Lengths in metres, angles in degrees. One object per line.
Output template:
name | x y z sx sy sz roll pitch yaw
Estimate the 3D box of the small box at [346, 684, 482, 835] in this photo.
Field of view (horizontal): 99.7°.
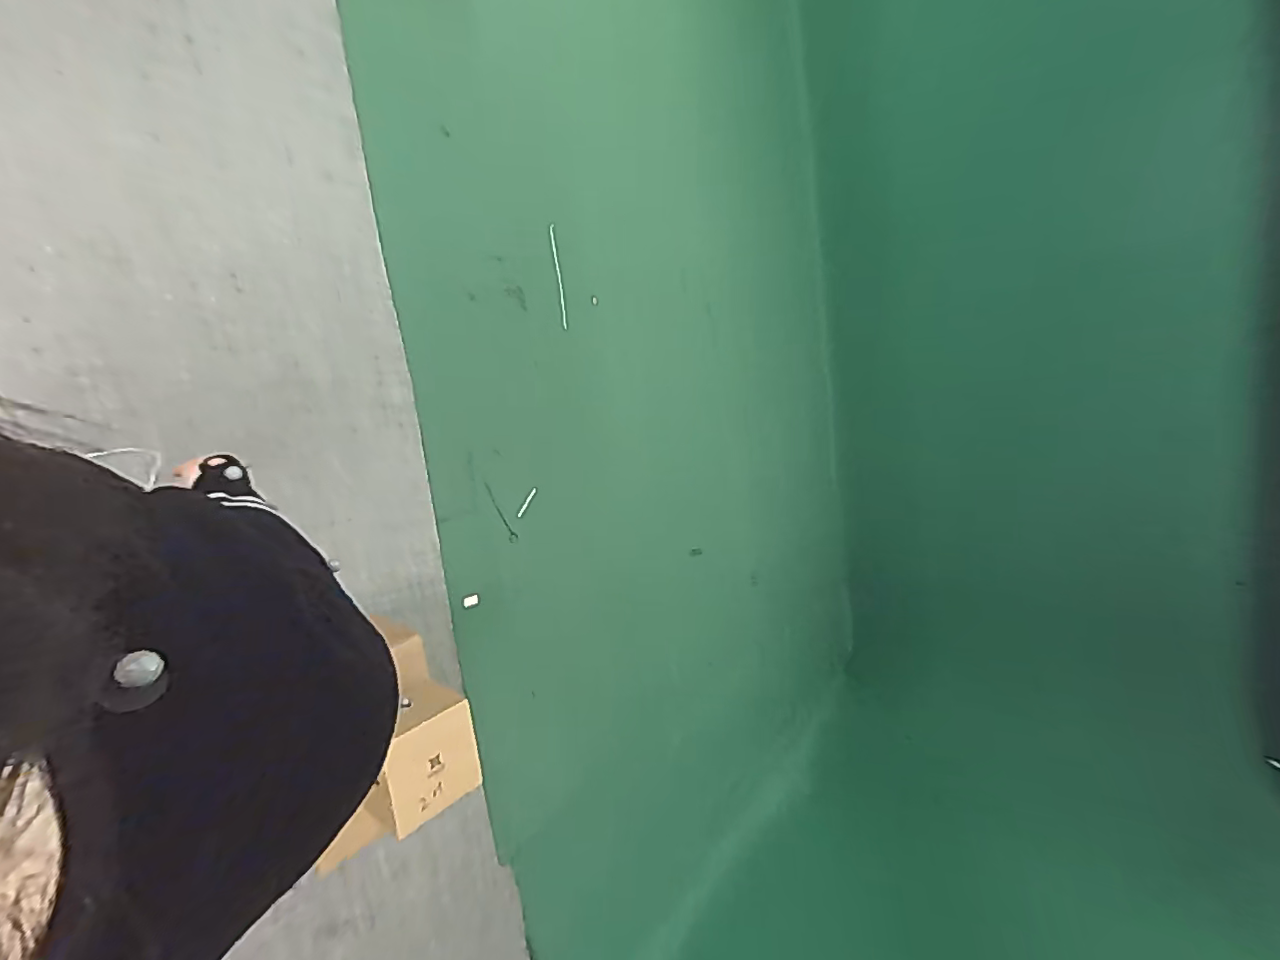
small box | -0.424 0.501 1.008 0.168 0.176 0.179 -16 102 -48
